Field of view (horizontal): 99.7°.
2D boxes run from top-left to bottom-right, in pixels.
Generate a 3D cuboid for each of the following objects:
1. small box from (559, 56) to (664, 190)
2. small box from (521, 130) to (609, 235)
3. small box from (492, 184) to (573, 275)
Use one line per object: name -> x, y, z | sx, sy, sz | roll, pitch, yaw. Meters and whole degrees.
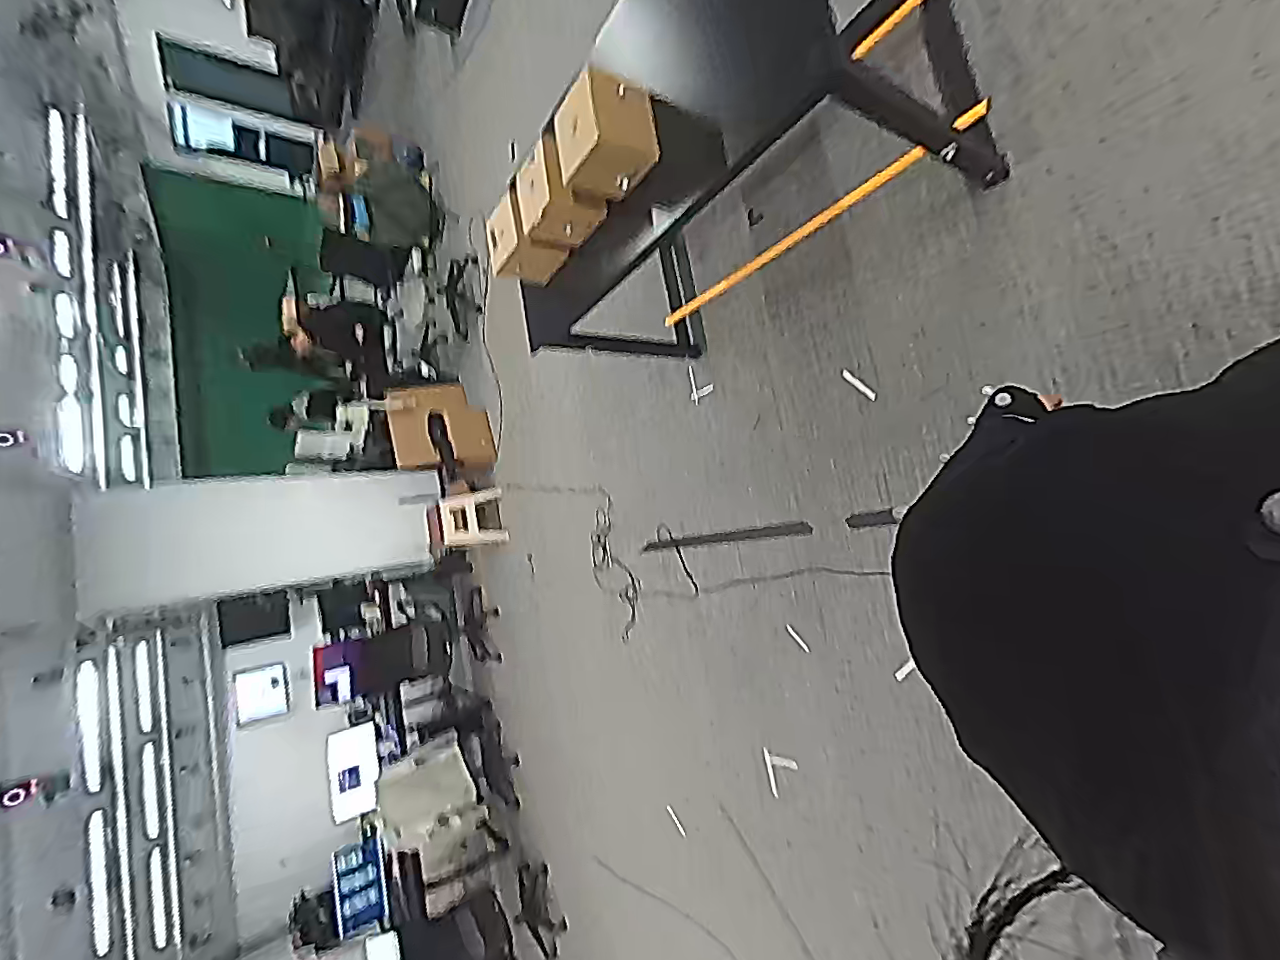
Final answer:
small box -> -0.066, -0.811, 1.250 | 0.168, 0.176, 0.179 | -17, 81, 55
small box -> -0.196, -0.772, 1.430 | 0.168, 0.176, 0.179 | -17, 81, 53
small box -> -0.319, -0.731, 1.602 | 0.179, 0.176, 0.168 | -21, 77, 52
